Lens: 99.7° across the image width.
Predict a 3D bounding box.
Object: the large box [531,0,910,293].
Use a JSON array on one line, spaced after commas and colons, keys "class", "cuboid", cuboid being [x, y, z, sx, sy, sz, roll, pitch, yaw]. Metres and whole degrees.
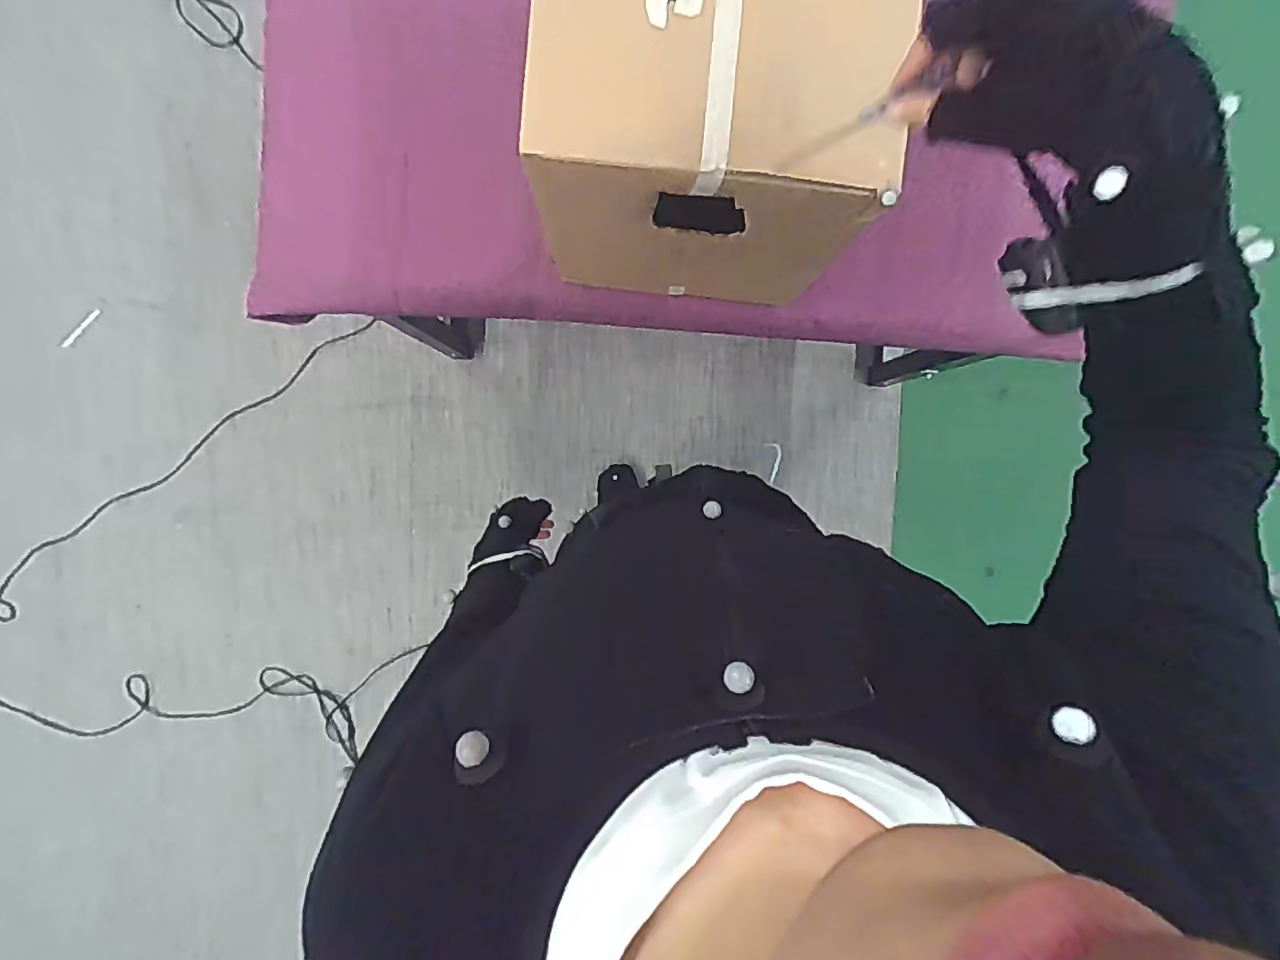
[{"class": "large box", "cuboid": [0.072, -0.462, 0.590, 0.320, 0.320, 0.408, 6, 93, -2]}]
